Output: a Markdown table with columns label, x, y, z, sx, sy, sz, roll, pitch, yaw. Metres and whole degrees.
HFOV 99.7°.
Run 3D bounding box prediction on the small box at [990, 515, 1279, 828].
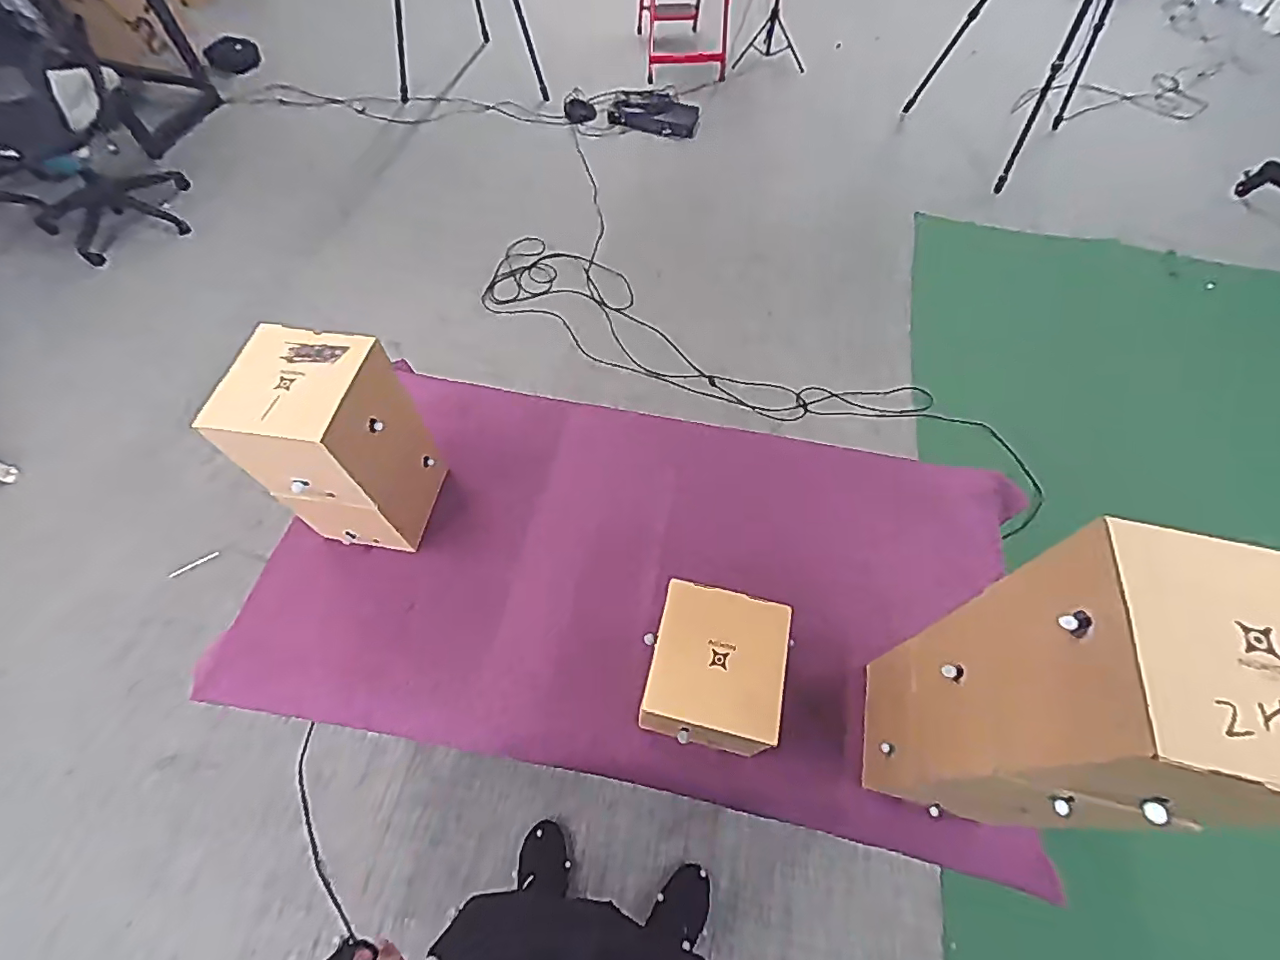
| label | x | y | z | sx | sy | sz | roll | pitch | yaw |
| --- | --- | --- | --- | --- | --- | --- | --- | --- | --- |
| small box | 0.411 | 0.157 | 0.433 | 0.168 | 0.176 | 0.179 | 13 | 60 | 8 |

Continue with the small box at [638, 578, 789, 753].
| label | x | y | z | sx | sy | sz | roll | pitch | yaw |
| --- | --- | --- | --- | --- | --- | --- | --- | --- | --- |
| small box | 0.098 | 0.263 | 0.751 | 0.168 | 0.176 | 0.179 | 12 | 58 | 7 |

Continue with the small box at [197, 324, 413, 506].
| label | x | y | z | sx | sy | sz | roll | pitch | yaw |
| --- | --- | --- | --- | --- | --- | --- | --- | --- | --- |
| small box | -0.443 | -0.087 | 0.756 | 0.168 | 0.176 | 0.179 | 8 | 60 | 4 |

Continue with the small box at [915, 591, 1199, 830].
| label | x | y | z | sx | sy | sz | roll | pitch | yaw |
| --- | --- | --- | --- | --- | --- | --- | --- | --- | --- |
| small box | 0.409 | 0.245 | 0.572 | 0.168 | 0.176 | 0.179 | 13 | 59 | 8 |

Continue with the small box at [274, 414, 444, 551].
| label | x | y | z | sx | sy | sz | roll | pitch | yaw |
| --- | --- | --- | --- | --- | --- | --- | --- | --- | --- |
| small box | -0.446 | -0.003 | 0.897 | 0.168 | 0.176 | 0.179 | 8 | 61 | 4 |
